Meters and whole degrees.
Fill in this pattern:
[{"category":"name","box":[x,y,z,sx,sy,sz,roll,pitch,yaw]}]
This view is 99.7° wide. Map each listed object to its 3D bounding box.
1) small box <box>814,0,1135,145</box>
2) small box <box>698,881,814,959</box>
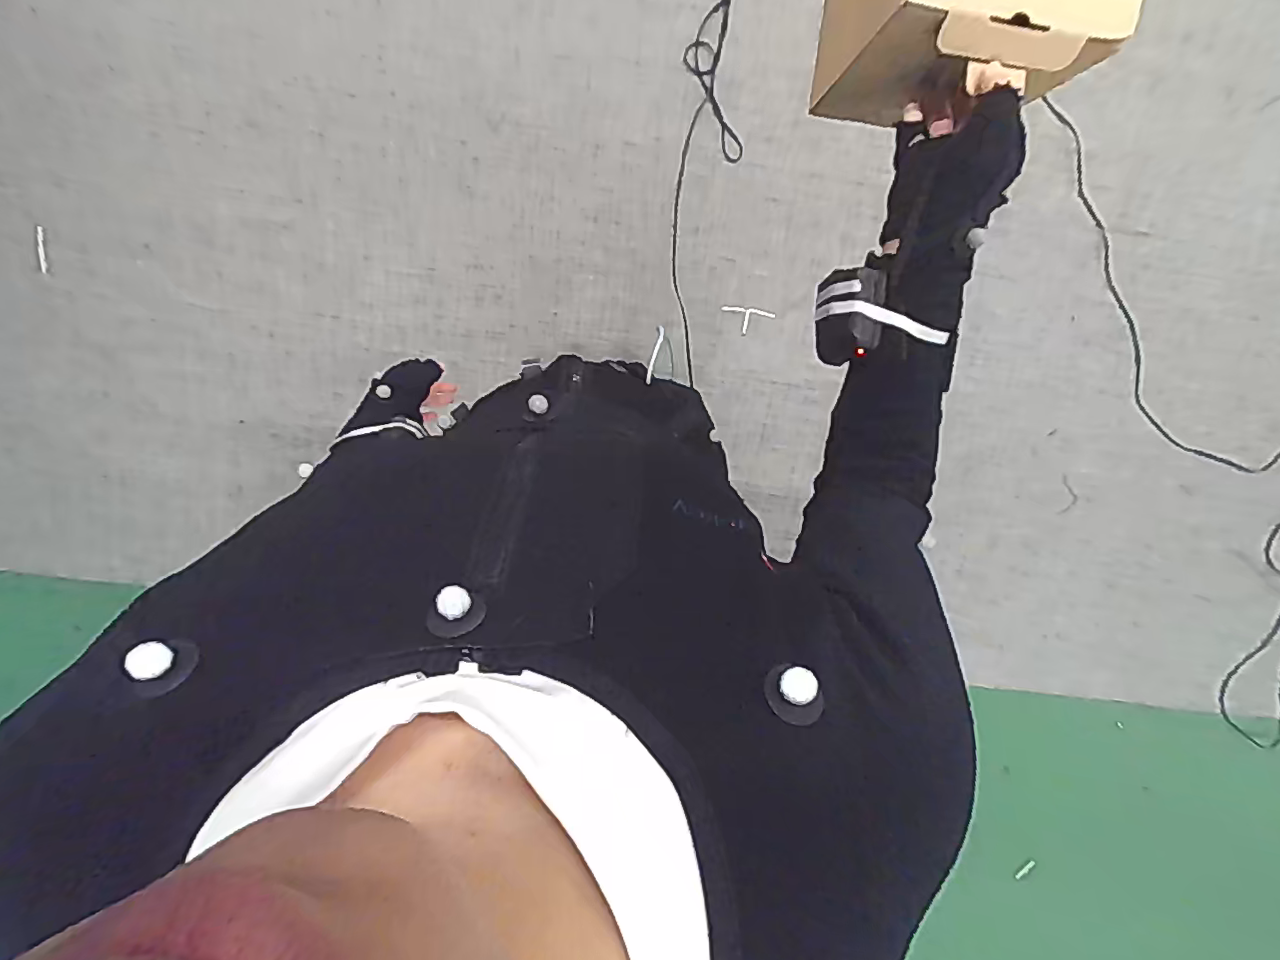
[{"category":"small box","box":[0.256,-0.403,0.429,0.168,0.176,0.179,5,102,-5]},{"category":"small box","box":[0.186,0.794,0.871,0.168,0.176,0.179,0,103,-1]}]
